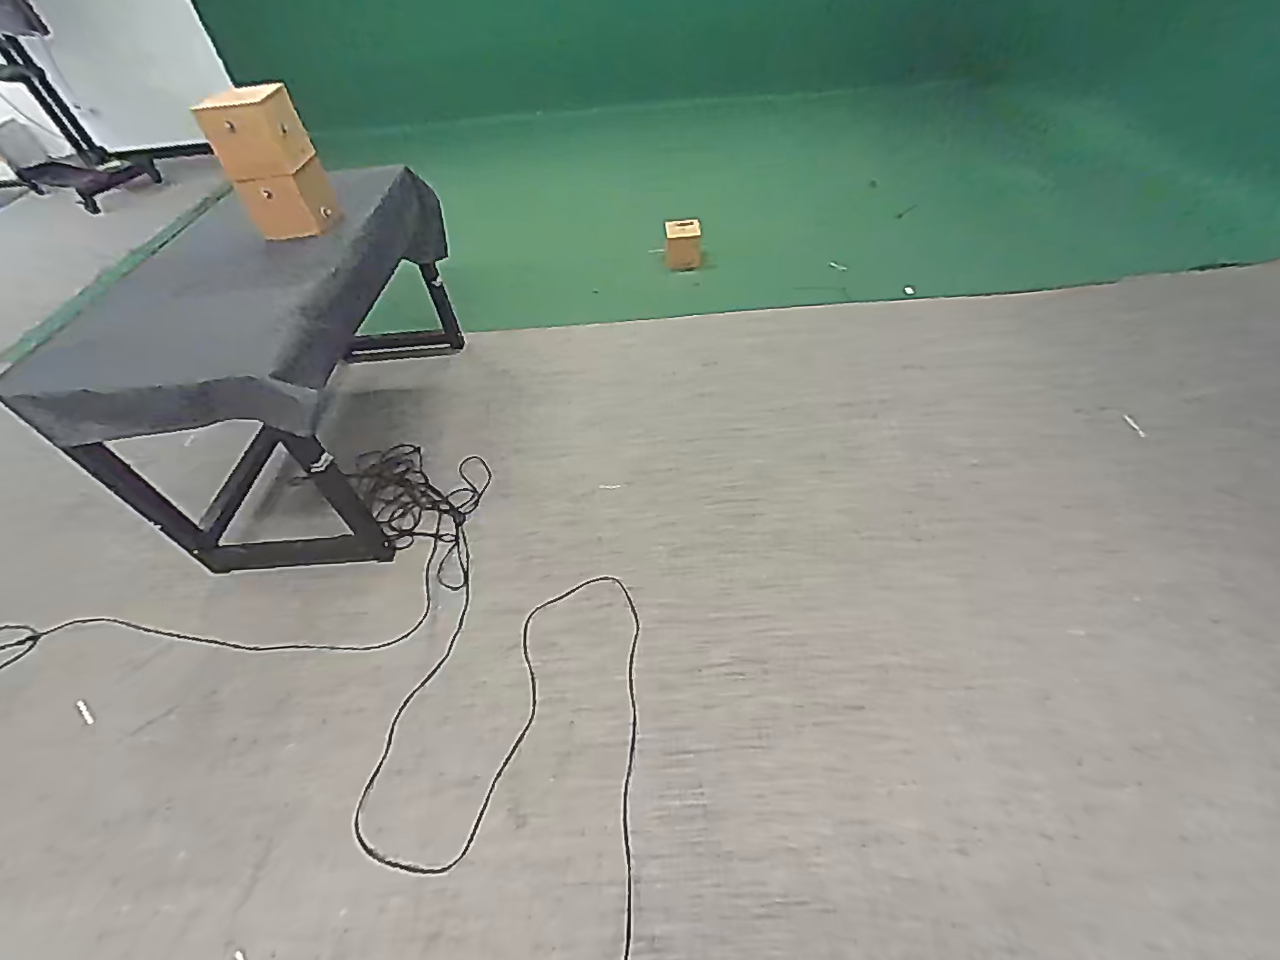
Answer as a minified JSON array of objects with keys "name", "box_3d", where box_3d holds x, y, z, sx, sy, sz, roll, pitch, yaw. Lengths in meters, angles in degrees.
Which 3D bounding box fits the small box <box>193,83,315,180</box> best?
[{"name":"small box","box_3d":[-1.006,-0.919,1.431,0.179,0.176,0.168,-5,50,4]}]

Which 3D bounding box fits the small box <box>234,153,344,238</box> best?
[{"name":"small box","box_3d":[-1.001,-0.816,1.557,0.179,0.176,0.168,-3,50,3]}]
